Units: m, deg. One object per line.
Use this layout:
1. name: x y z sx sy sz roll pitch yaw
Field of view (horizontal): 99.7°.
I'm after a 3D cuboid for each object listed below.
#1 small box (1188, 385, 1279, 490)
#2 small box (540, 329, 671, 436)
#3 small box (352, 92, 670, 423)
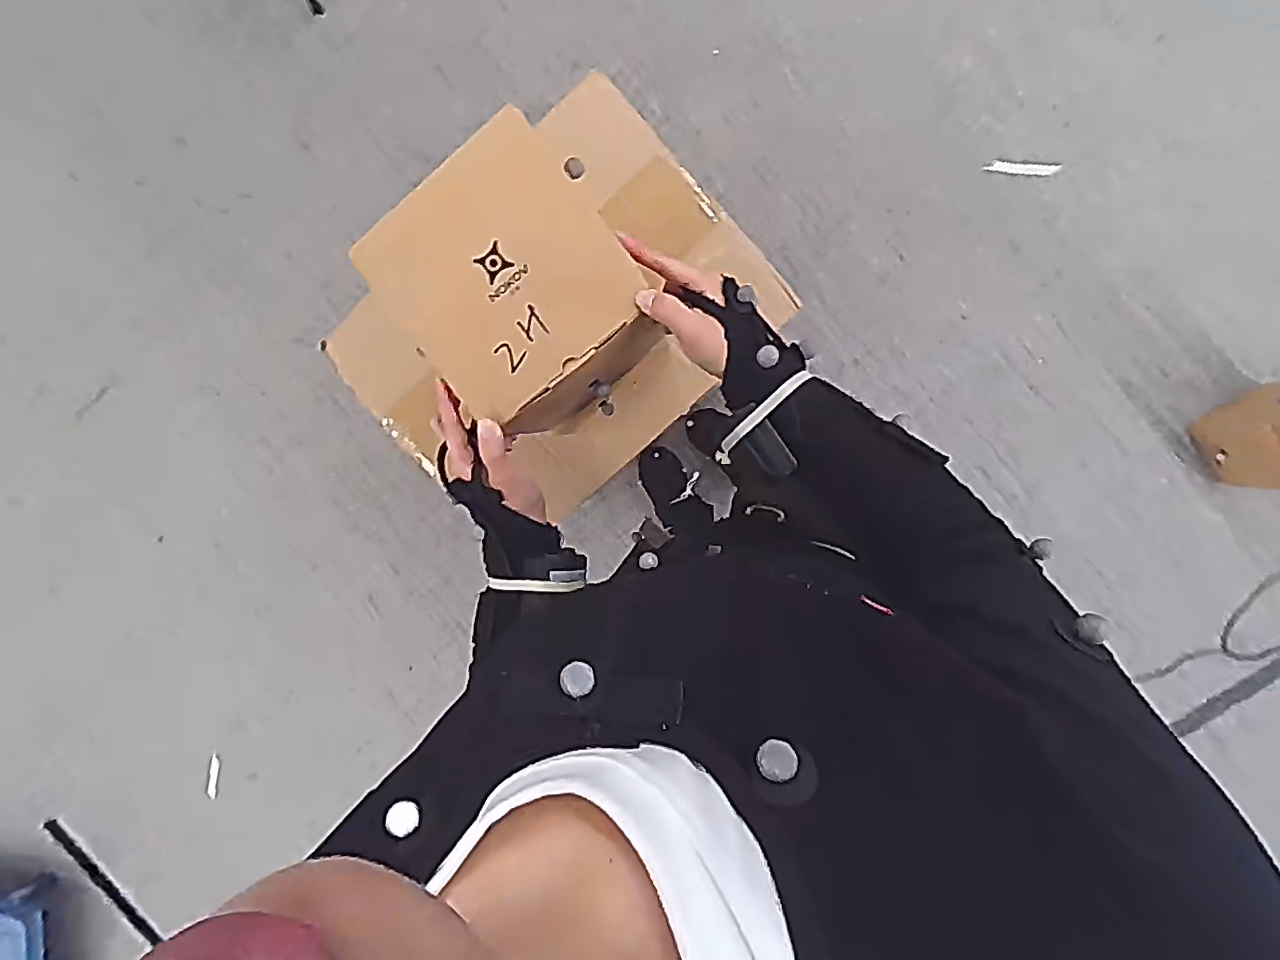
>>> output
1. small box: 1.369 -0.097 1.165 0.179 0.176 0.168 -32 92 7
2. small box: -0.076 -0.171 0.627 0.168 0.176 0.179 -39 92 7
3. small box: -0.089 -0.161 0.463 0.168 0.176 0.179 -37 91 7
